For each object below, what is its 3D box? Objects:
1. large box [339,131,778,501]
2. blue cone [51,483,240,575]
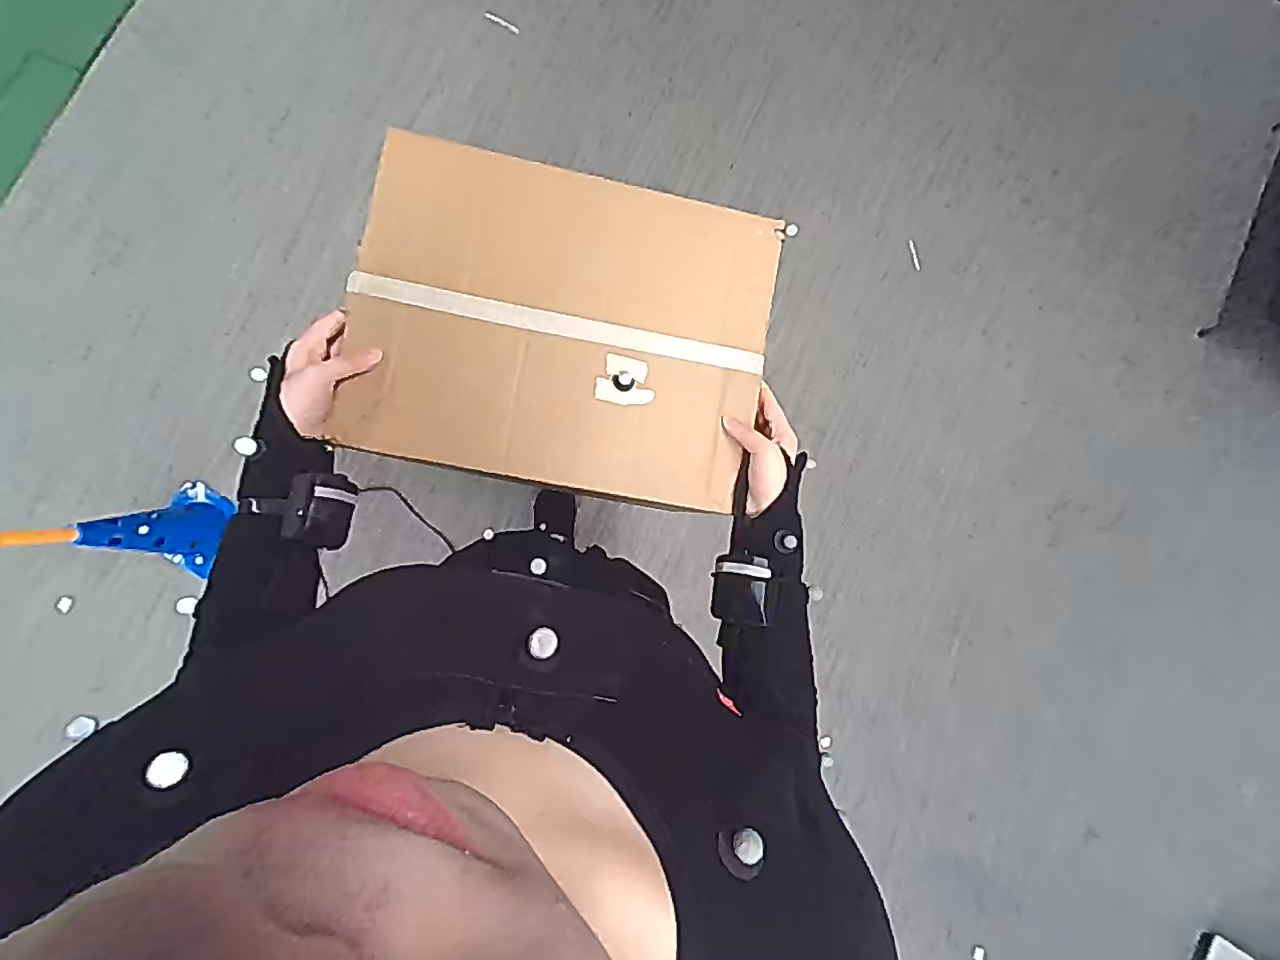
[{"bbox_3d":[-0.090,-0.155,0.689,0.408,0.320,0.320,10,87,-7],"label":"large box"},{"bbox_3d":[-1.136,0.114,1.233,0.192,0.380,0.193,35,83,-2],"label":"blue cone"}]
